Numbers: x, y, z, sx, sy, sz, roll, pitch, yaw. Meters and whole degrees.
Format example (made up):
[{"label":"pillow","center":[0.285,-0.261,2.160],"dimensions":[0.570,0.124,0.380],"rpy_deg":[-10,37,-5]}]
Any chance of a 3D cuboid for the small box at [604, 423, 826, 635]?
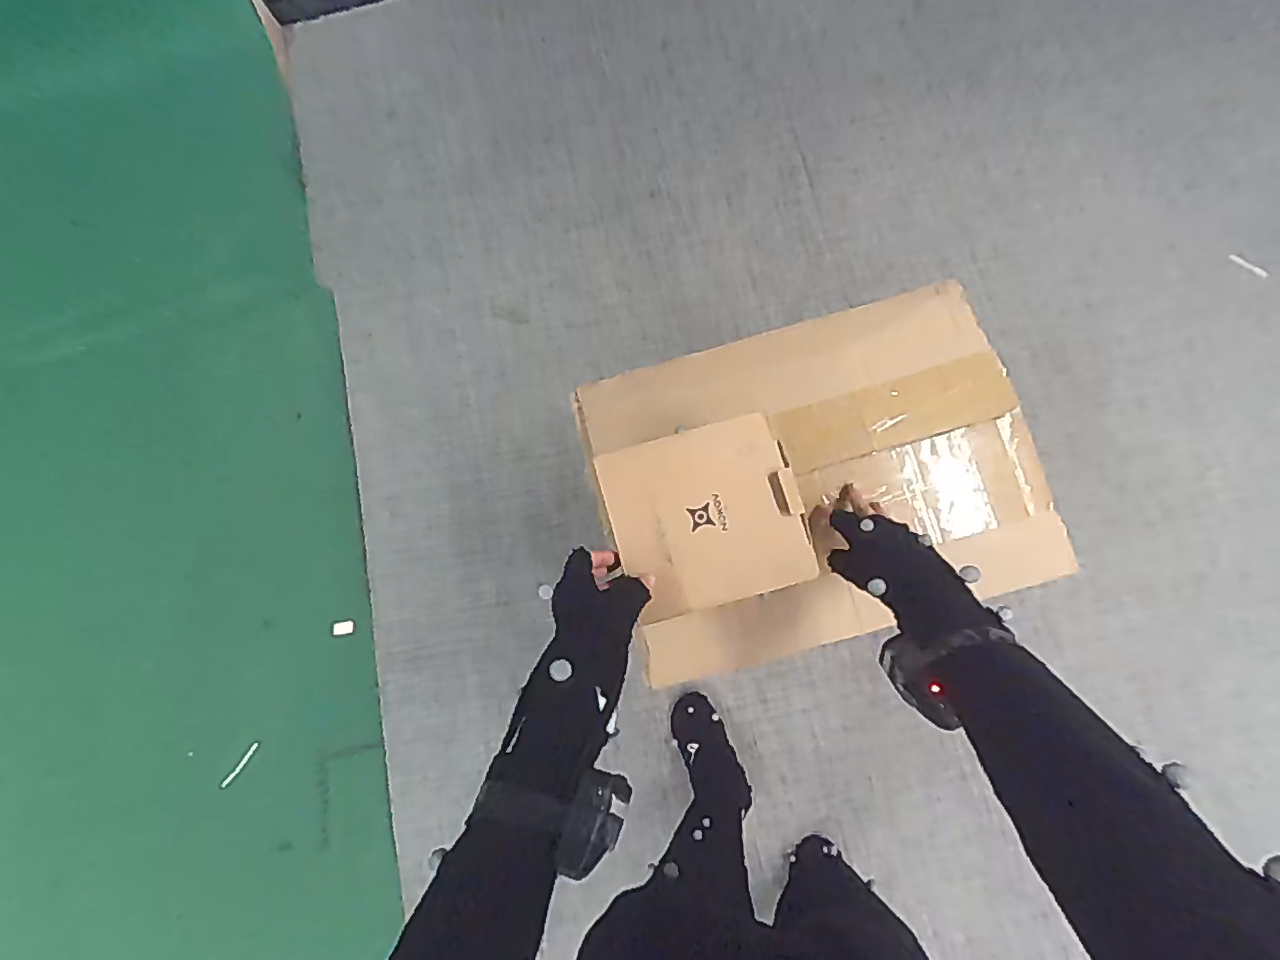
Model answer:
[{"label":"small box","center":[0.072,0.055,0.586],"dimensions":[0.179,0.176,0.168],"rpy_deg":[-17,80,1]}]
